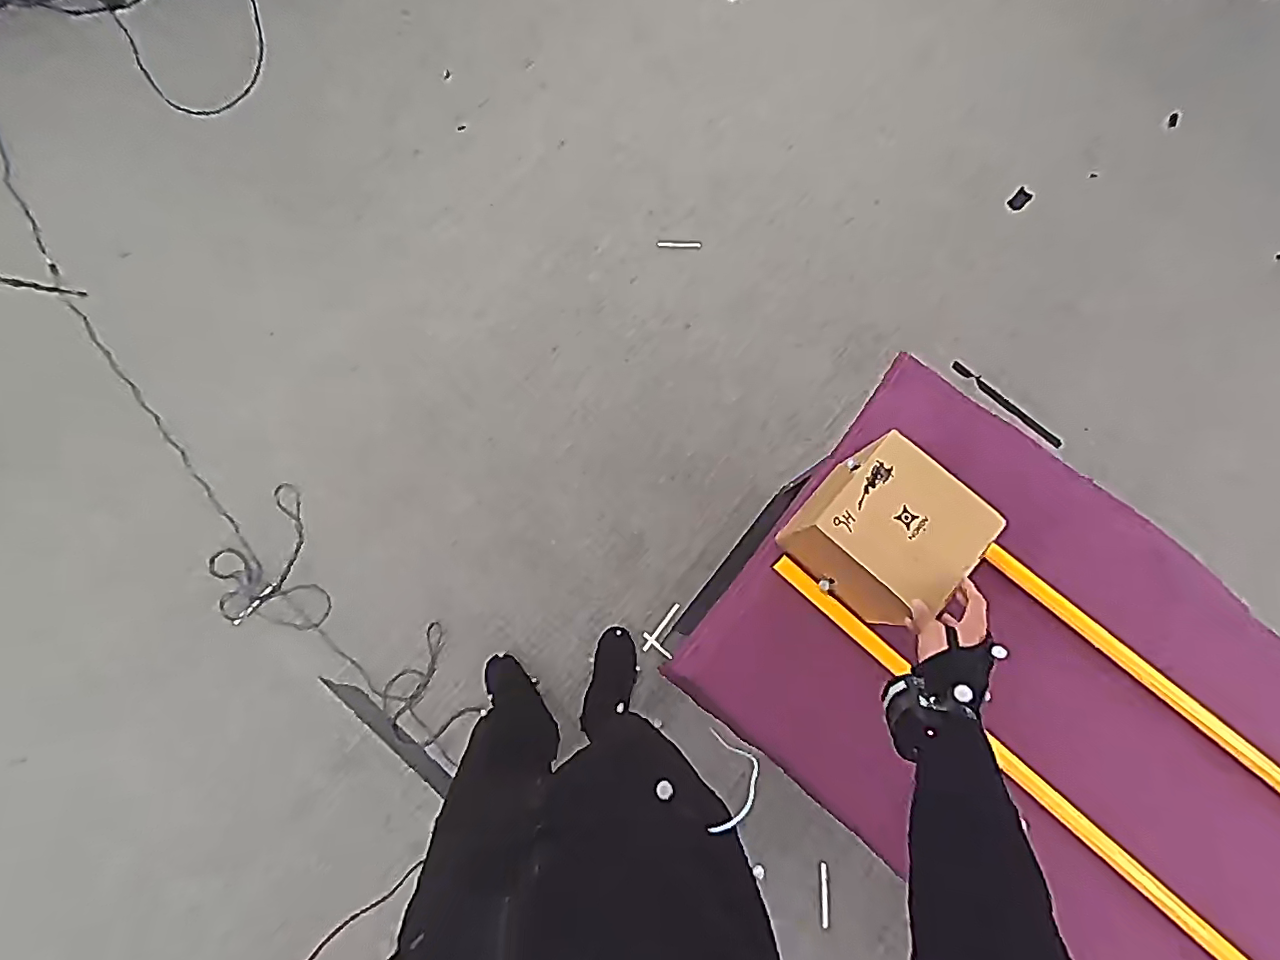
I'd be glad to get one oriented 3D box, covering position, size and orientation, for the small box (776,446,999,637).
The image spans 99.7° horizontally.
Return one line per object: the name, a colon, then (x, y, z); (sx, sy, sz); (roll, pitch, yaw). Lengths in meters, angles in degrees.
small box: (0.316, 0.085, 0.728); (0.179, 0.176, 0.168); (43, 79, 6)
